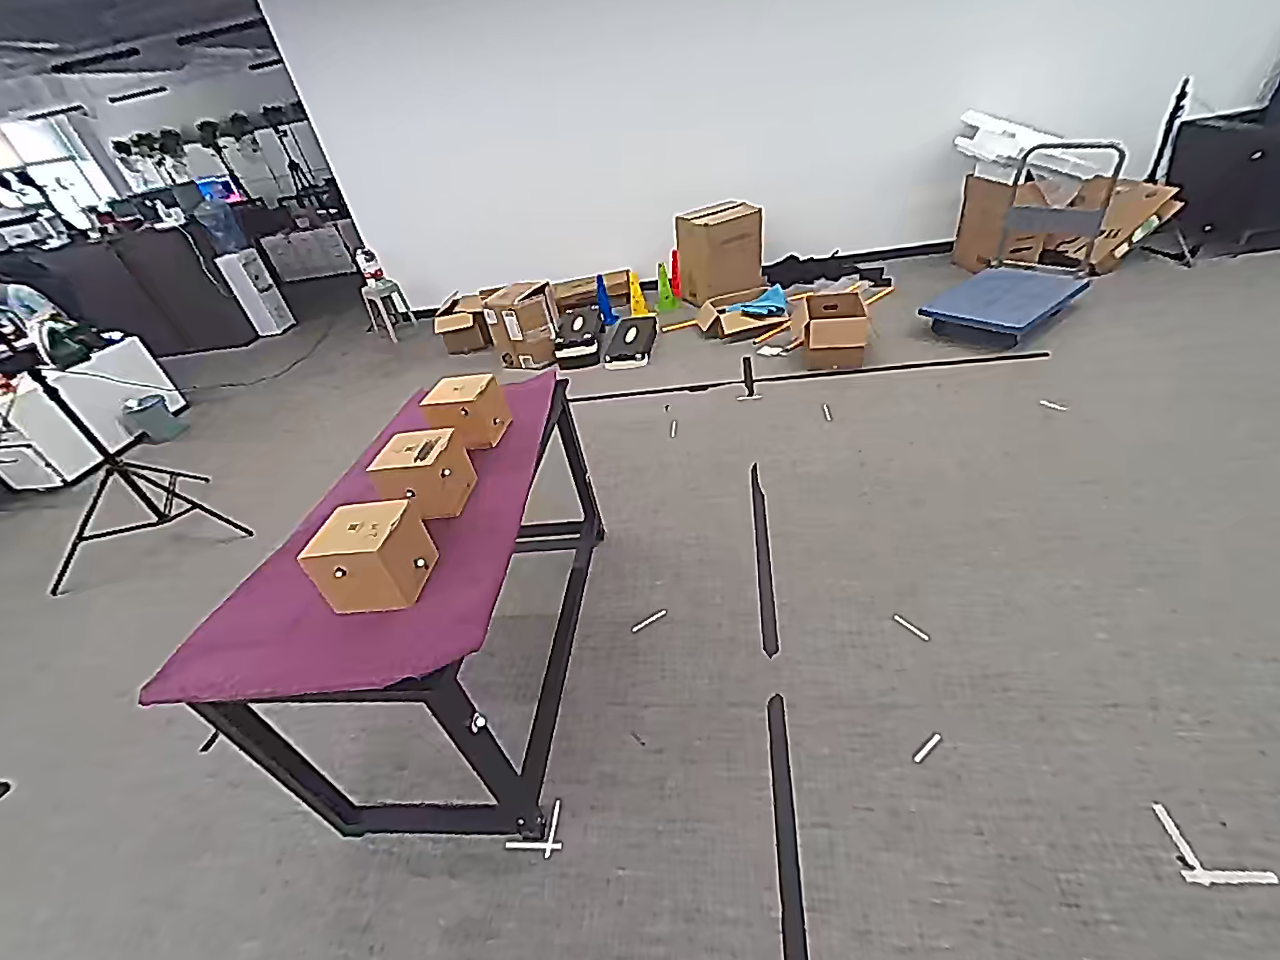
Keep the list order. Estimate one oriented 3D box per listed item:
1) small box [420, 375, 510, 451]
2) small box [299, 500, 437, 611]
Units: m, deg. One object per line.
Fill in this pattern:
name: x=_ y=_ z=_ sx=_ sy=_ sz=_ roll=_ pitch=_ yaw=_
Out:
small box: x=-0.519 y=-0.199 z=1.632 sx=0.179 sy=0.176 sz=0.168 roll=-3 pitch=37 yaw=13
small box: x=-0.567 y=0.164 z=1.153 sx=0.179 sy=0.176 sz=0.168 roll=-5 pitch=36 yaw=8
